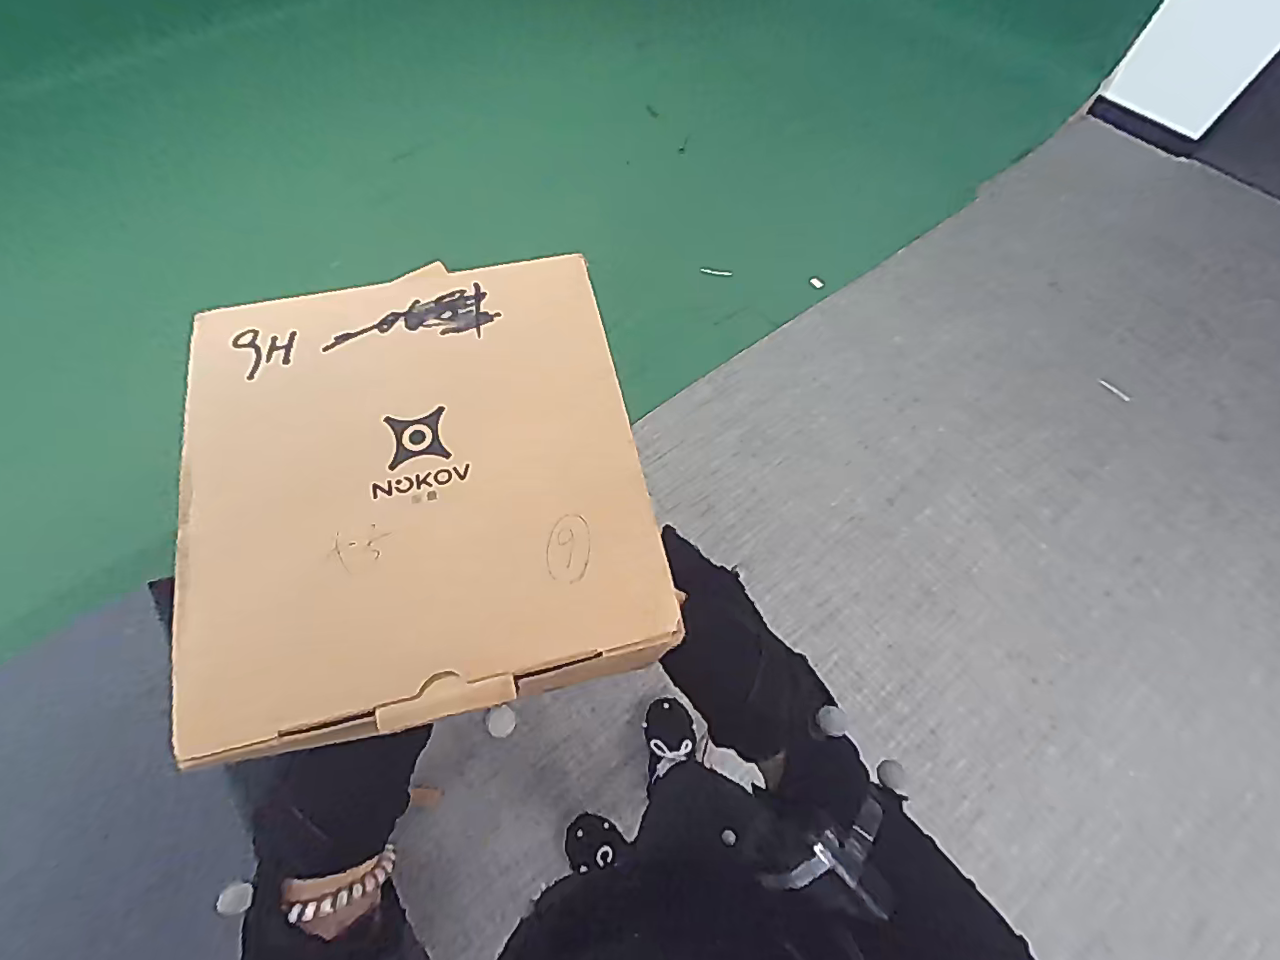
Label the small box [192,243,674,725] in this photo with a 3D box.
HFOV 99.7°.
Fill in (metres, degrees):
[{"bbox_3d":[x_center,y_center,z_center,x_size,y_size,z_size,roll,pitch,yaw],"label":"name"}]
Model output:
[{"bbox_3d":[-0.087,0.013,0.286,0.168,0.176,0.179,-11,69,-8],"label":"small box"}]
